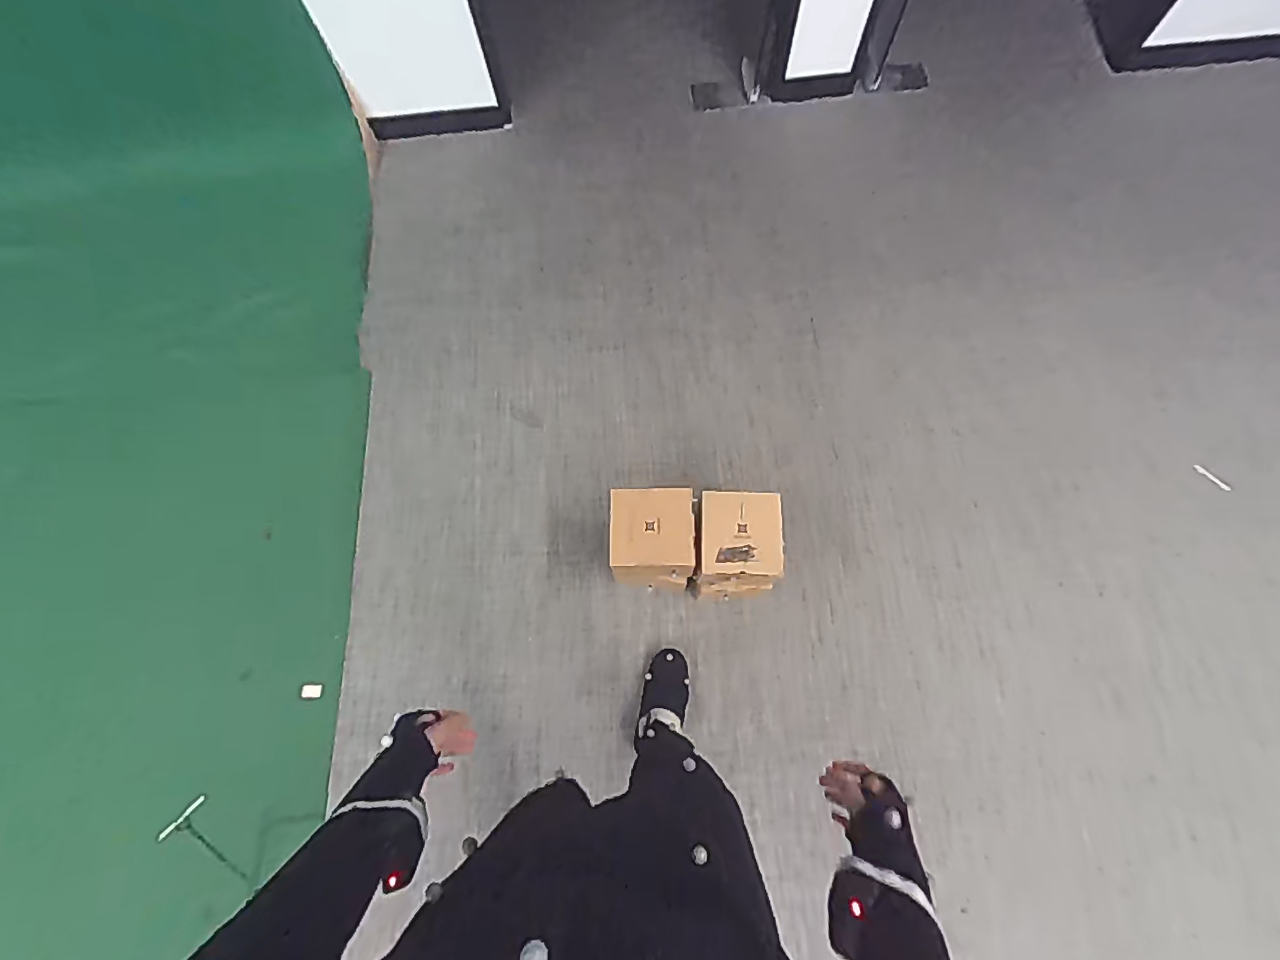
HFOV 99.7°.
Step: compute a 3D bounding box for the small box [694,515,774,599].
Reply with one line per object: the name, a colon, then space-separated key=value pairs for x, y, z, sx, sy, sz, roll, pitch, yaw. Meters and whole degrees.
small box: x=0.223 y=0.192 z=1.327 sx=0.168 sy=0.176 sz=0.179 roll=-4 pitch=73 yaw=1
